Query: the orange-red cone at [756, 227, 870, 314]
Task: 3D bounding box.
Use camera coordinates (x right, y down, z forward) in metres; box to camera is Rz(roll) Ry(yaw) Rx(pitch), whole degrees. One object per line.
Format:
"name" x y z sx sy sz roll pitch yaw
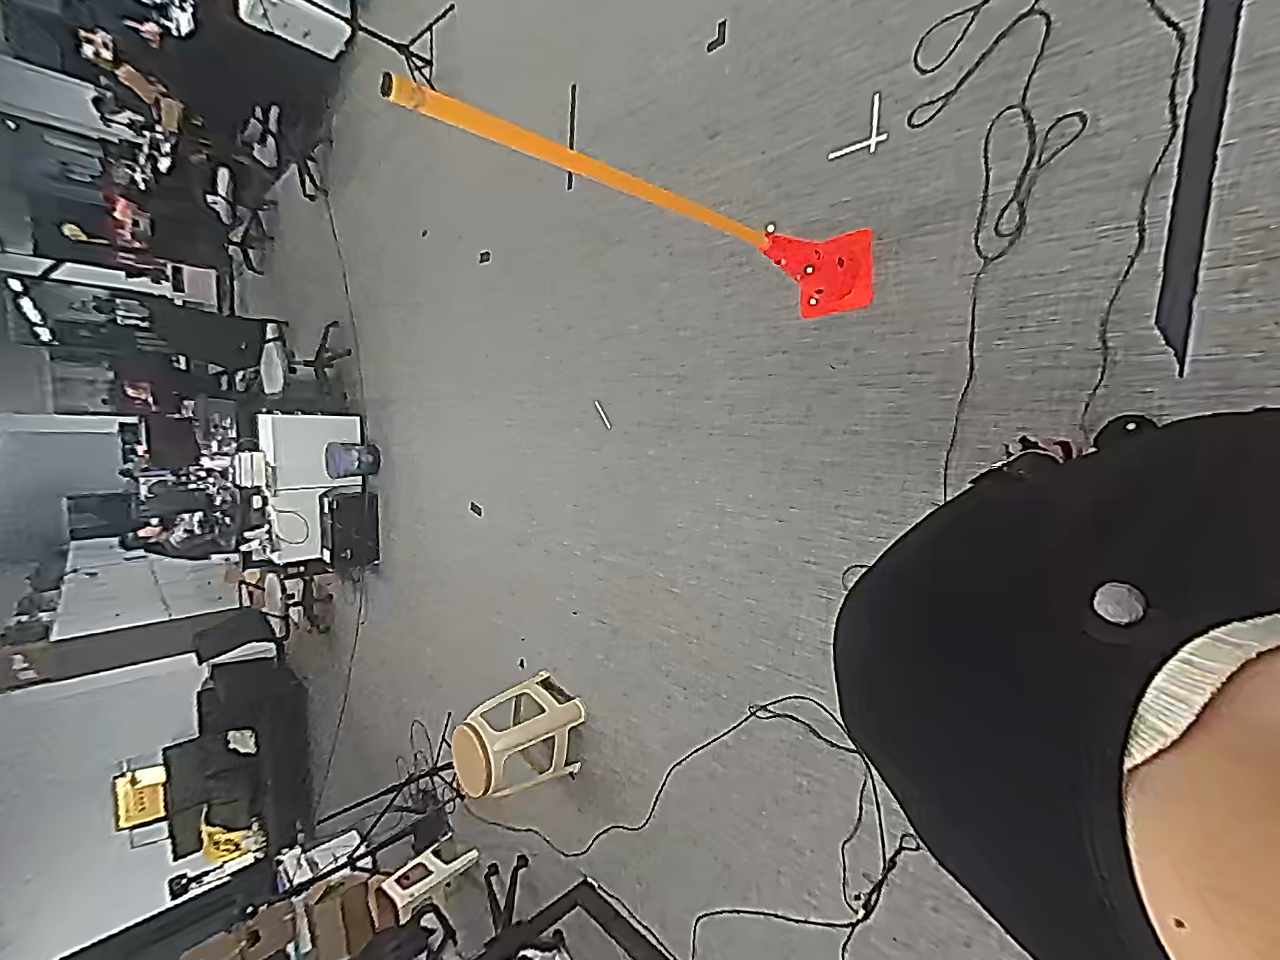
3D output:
"orange-red cone" 0.395 -0.542 1.315 0.199 0.360 0.198 1 95 44
